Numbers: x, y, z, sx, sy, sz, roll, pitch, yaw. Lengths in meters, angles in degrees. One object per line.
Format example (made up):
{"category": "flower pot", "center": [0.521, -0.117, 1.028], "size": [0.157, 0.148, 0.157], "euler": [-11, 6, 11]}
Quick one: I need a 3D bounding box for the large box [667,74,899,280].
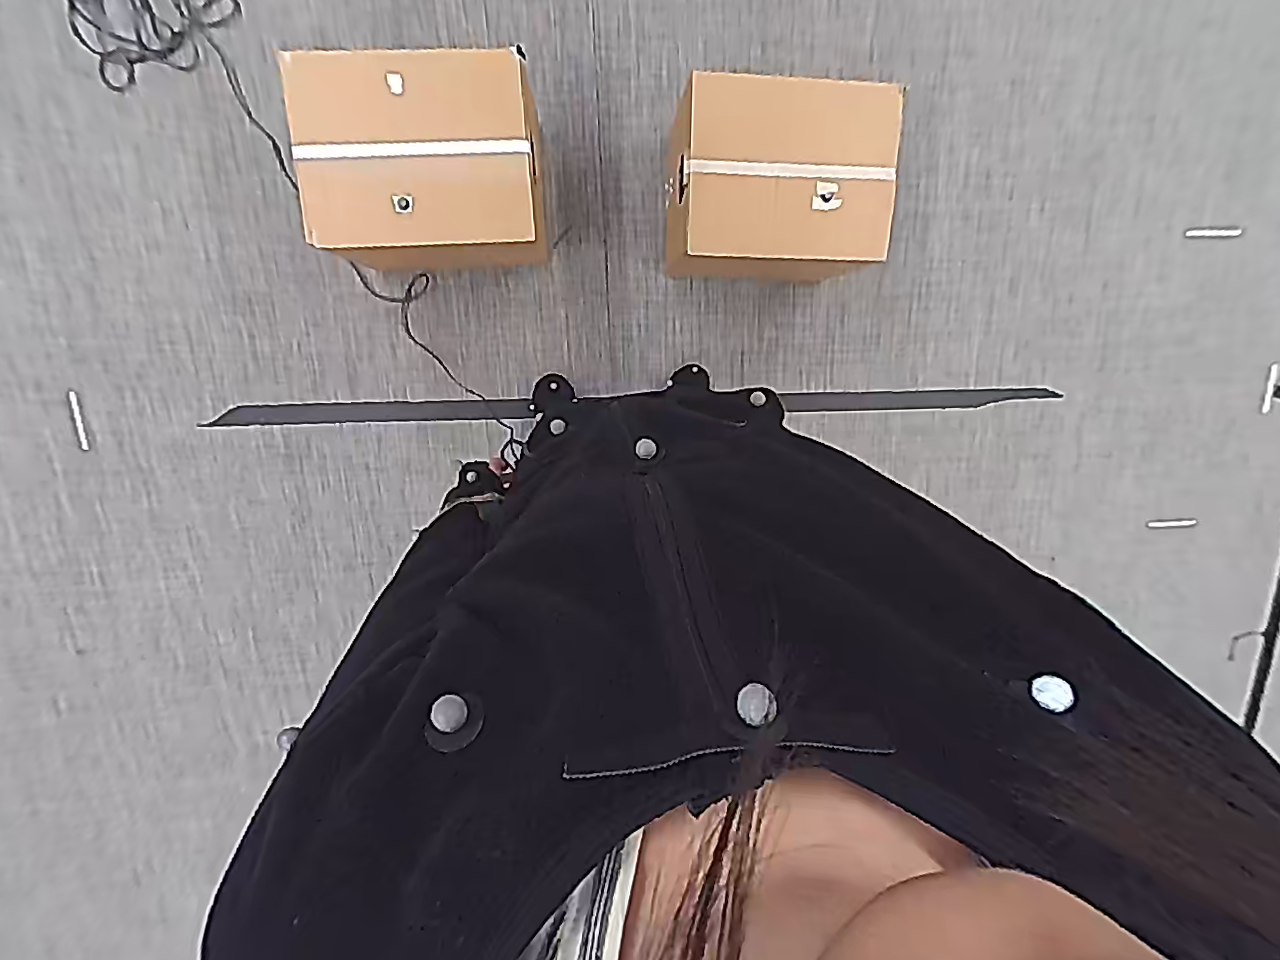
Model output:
{"category": "large box", "center": [0.277, -0.621, 1.176], "size": [0.408, 0.320, 0.320], "euler": [0, 103, -6]}
